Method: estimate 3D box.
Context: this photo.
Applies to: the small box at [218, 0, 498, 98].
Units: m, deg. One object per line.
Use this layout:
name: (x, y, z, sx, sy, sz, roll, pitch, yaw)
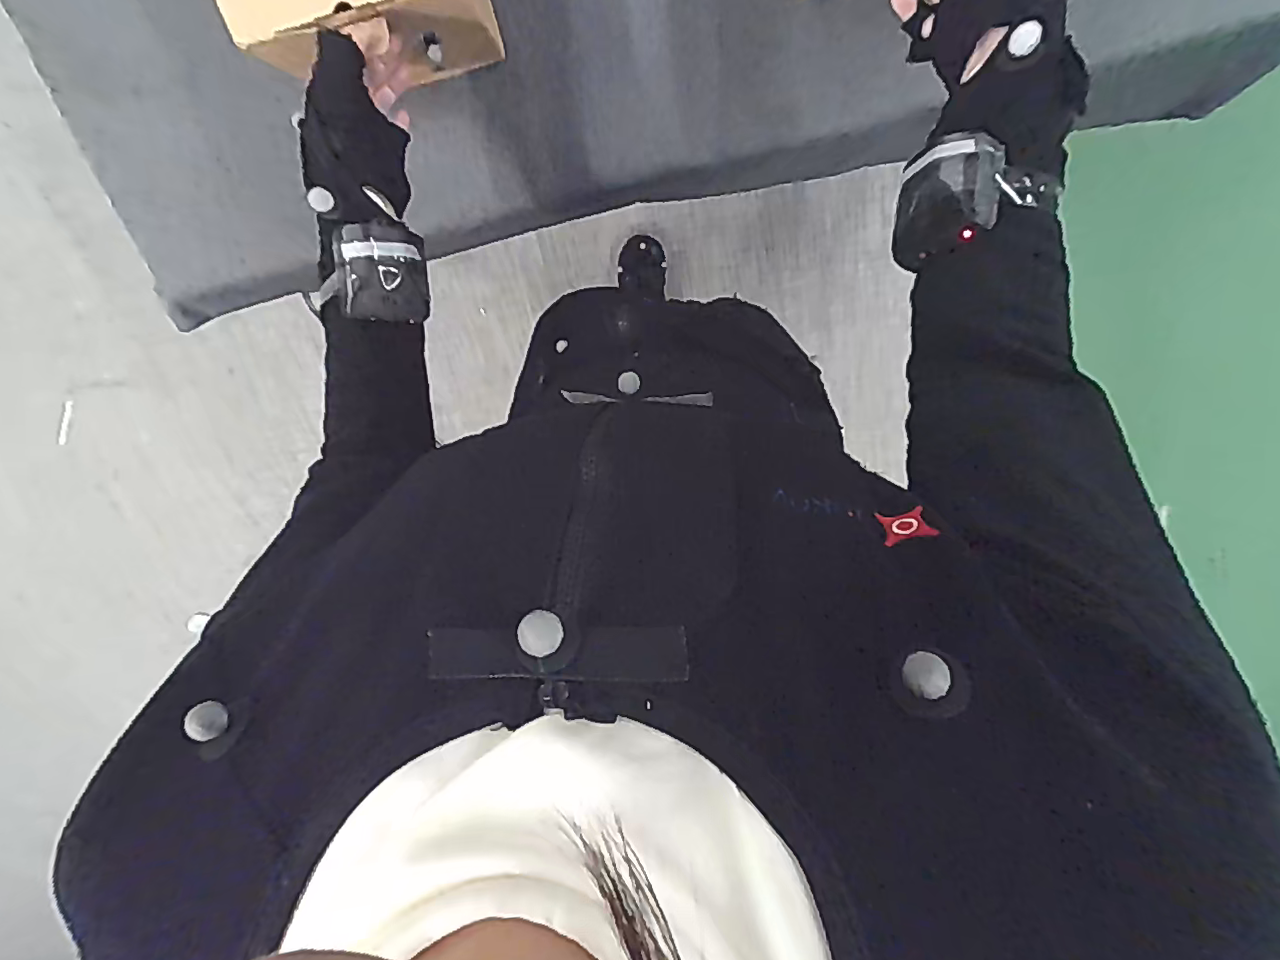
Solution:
small box: (-0.229, -0.431, 0.426, 0.168, 0.176, 0.179, -14, 112, 4)
